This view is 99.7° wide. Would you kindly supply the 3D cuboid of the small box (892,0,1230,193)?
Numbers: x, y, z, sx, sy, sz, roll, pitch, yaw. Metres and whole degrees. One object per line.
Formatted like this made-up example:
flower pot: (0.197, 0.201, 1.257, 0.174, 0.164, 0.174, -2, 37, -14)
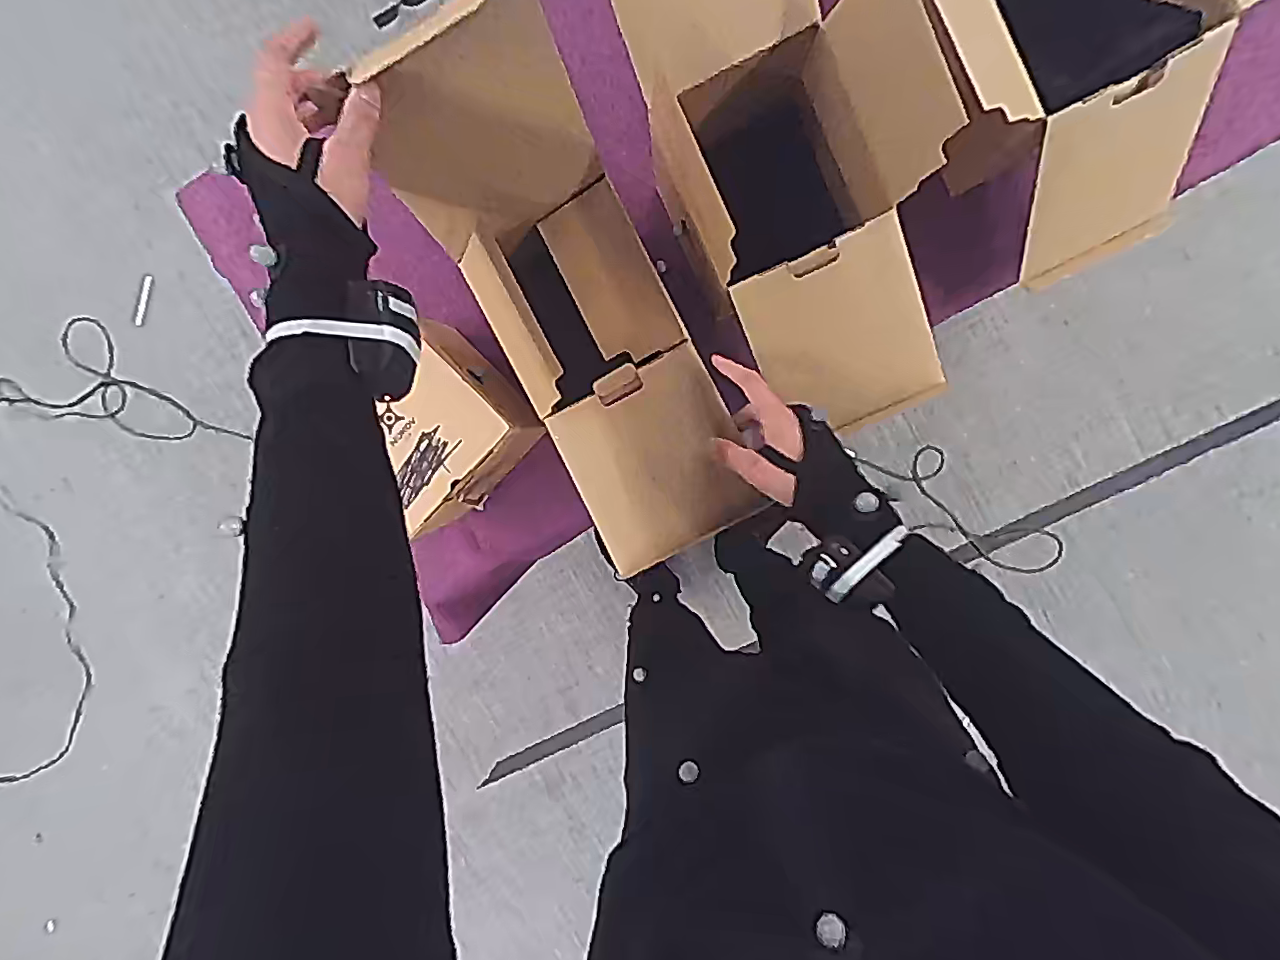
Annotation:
small box: (0.378, -0.424, 0.524, 0.168, 0.176, 0.179, -26, 94, 8)
